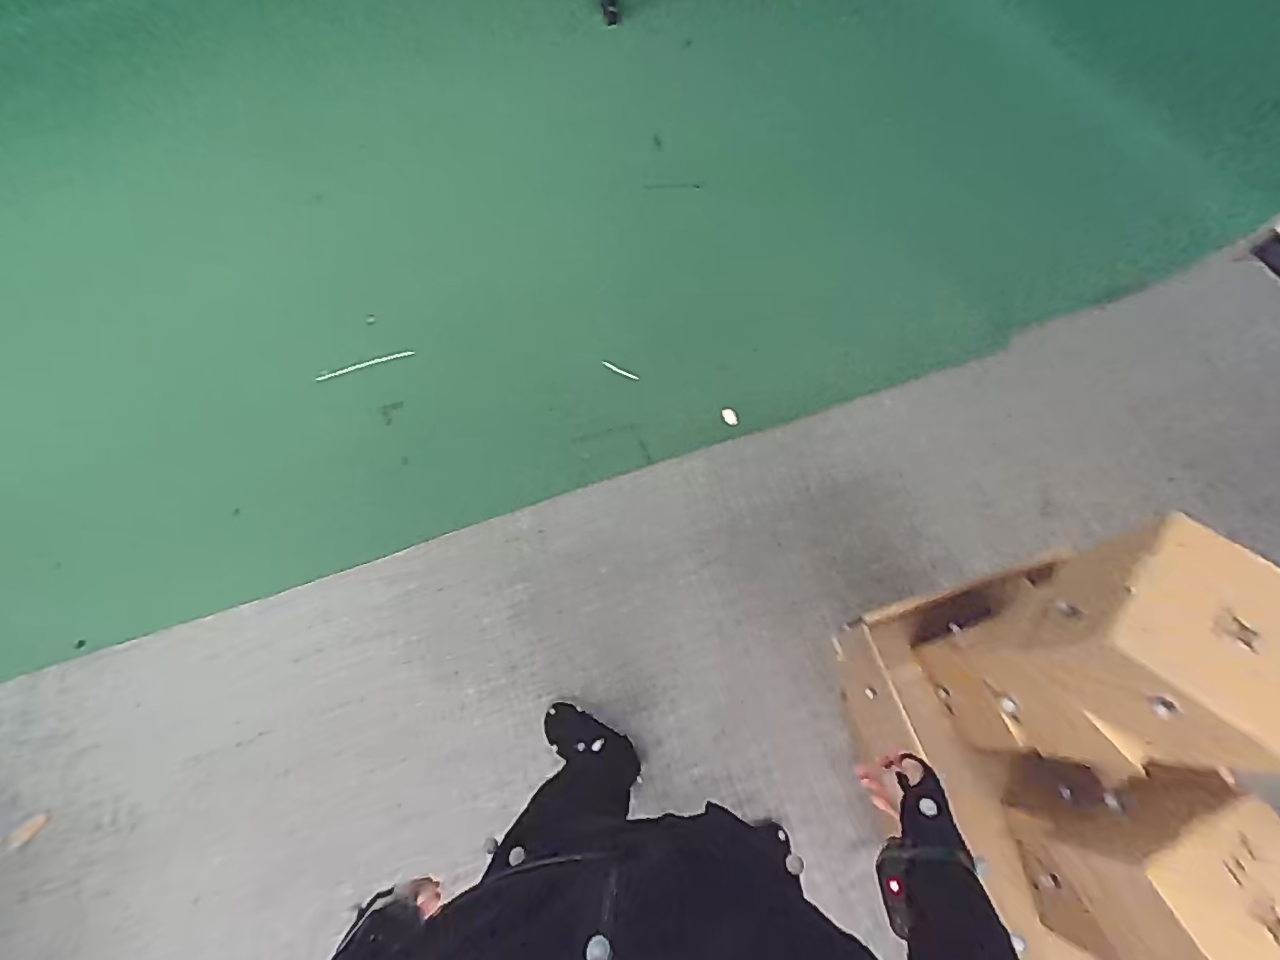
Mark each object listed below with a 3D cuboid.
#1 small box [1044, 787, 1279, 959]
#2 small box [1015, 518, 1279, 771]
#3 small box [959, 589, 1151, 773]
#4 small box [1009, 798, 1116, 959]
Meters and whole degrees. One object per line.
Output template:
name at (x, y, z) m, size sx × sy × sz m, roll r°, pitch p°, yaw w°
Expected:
small box at (0.624, 0.476, 0.609) m, size 0.168 × 0.176 × 0.179 m, roll -24°, pitch 67°, yaw -9°
small box at (0.548, 0.175, 0.565) m, size 0.179 × 0.176 × 0.168 m, roll 39°, pitch 74°, yaw 17°
small box at (0.570, 0.248, 0.710) m, size 0.179 × 0.176 × 0.168 m, roll -33°, pitch 68°, yaw -11°
small box at (0.659, 0.555, 0.753) m, size 0.179 × 0.176 × 0.168 m, roll -8°, pitch 66°, yaw 0°
